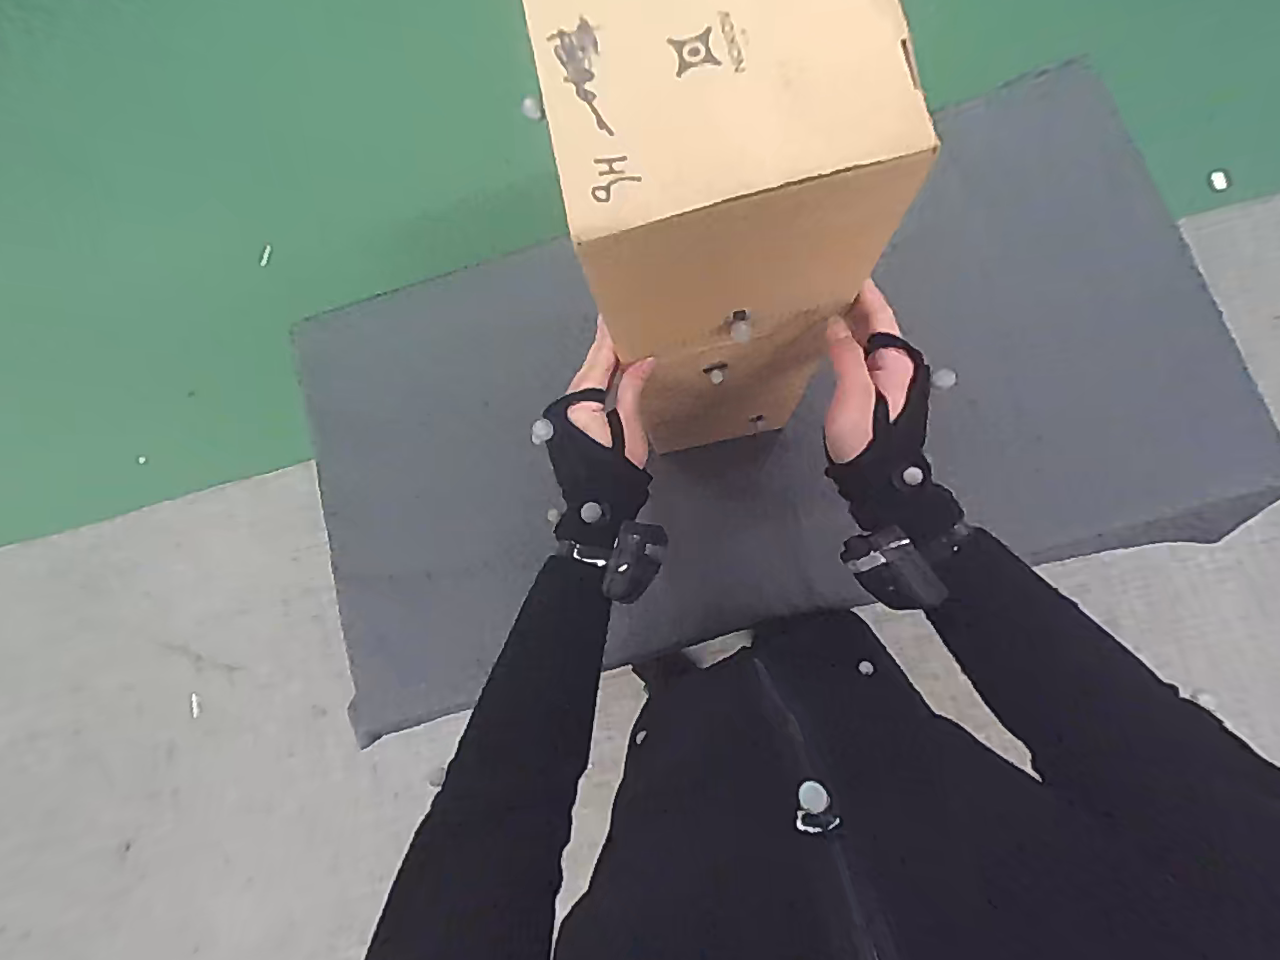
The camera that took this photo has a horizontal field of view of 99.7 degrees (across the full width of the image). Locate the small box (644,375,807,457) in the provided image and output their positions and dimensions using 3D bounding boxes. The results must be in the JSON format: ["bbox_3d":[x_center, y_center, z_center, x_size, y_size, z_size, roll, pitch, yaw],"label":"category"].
[{"bbox_3d":[0.087,-0.137,0.663,0.179,0.176,0.168,-13,78,6],"label":"small box"}]

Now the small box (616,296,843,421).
[{"bbox_3d":[0.063,-0.167,0.503,0.179,0.176,0.168,-13,79,4],"label":"small box"}]

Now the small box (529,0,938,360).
[{"bbox_3d":[0.046,-0.196,0.344,0.179,0.176,0.168,-13,79,4],"label":"small box"}]
